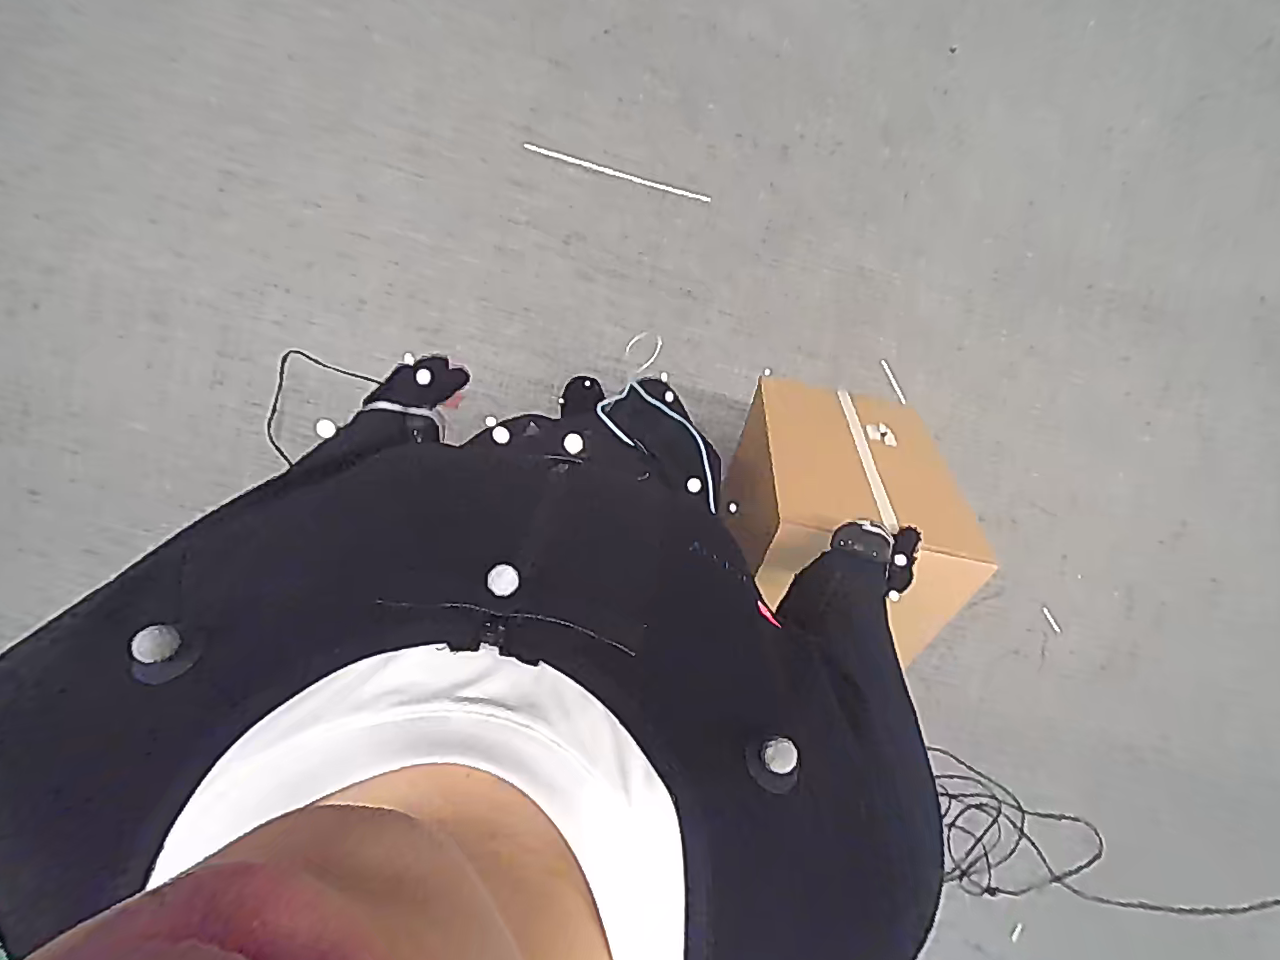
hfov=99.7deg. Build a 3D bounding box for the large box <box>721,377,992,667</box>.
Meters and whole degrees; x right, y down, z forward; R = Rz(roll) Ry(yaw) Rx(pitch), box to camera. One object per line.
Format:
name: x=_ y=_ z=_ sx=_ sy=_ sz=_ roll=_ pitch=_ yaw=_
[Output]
large box: x=0.337 y=0.069 z=0.989 sx=0.320 sy=0.408 sz=0.320 roll=12 pitch=131 yaw=-2
